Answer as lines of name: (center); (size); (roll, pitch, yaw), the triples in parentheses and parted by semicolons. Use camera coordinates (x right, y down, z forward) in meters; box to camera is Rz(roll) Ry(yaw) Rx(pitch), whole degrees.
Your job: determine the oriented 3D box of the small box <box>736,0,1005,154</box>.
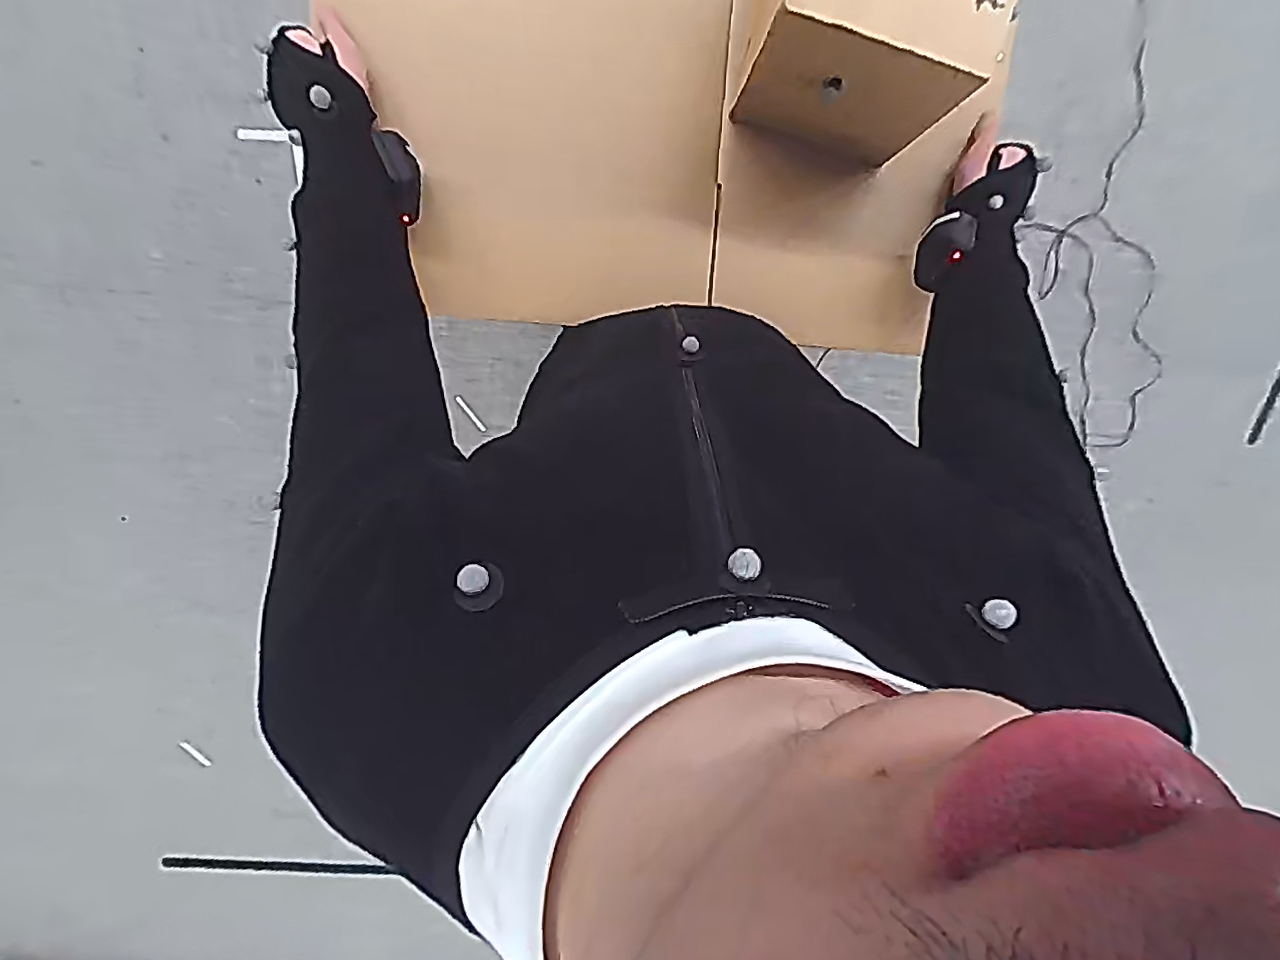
small box: (0.200, -0.426, 0.483); (0.179, 0.176, 0.168); (14, 99, -5)
